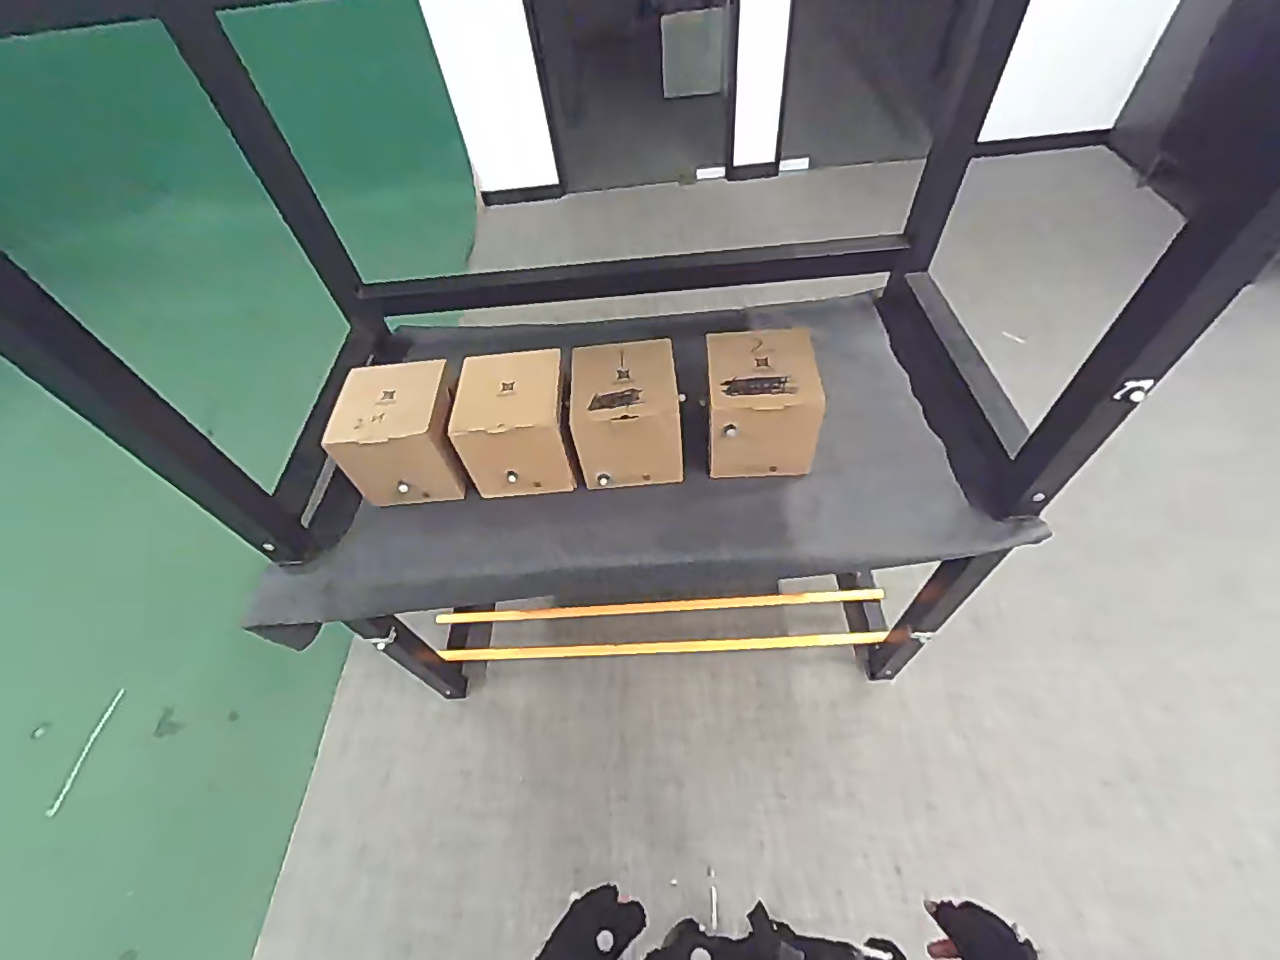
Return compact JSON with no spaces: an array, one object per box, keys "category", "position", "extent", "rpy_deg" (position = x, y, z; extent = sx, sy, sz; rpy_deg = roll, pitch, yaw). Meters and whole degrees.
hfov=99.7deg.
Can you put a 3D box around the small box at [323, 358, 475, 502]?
[{"category":"small box","position":[-0.394,-0.083,0.923],"extent":[0.168,0.176,0.179],"rpy_deg":[-5,53,3]}]
